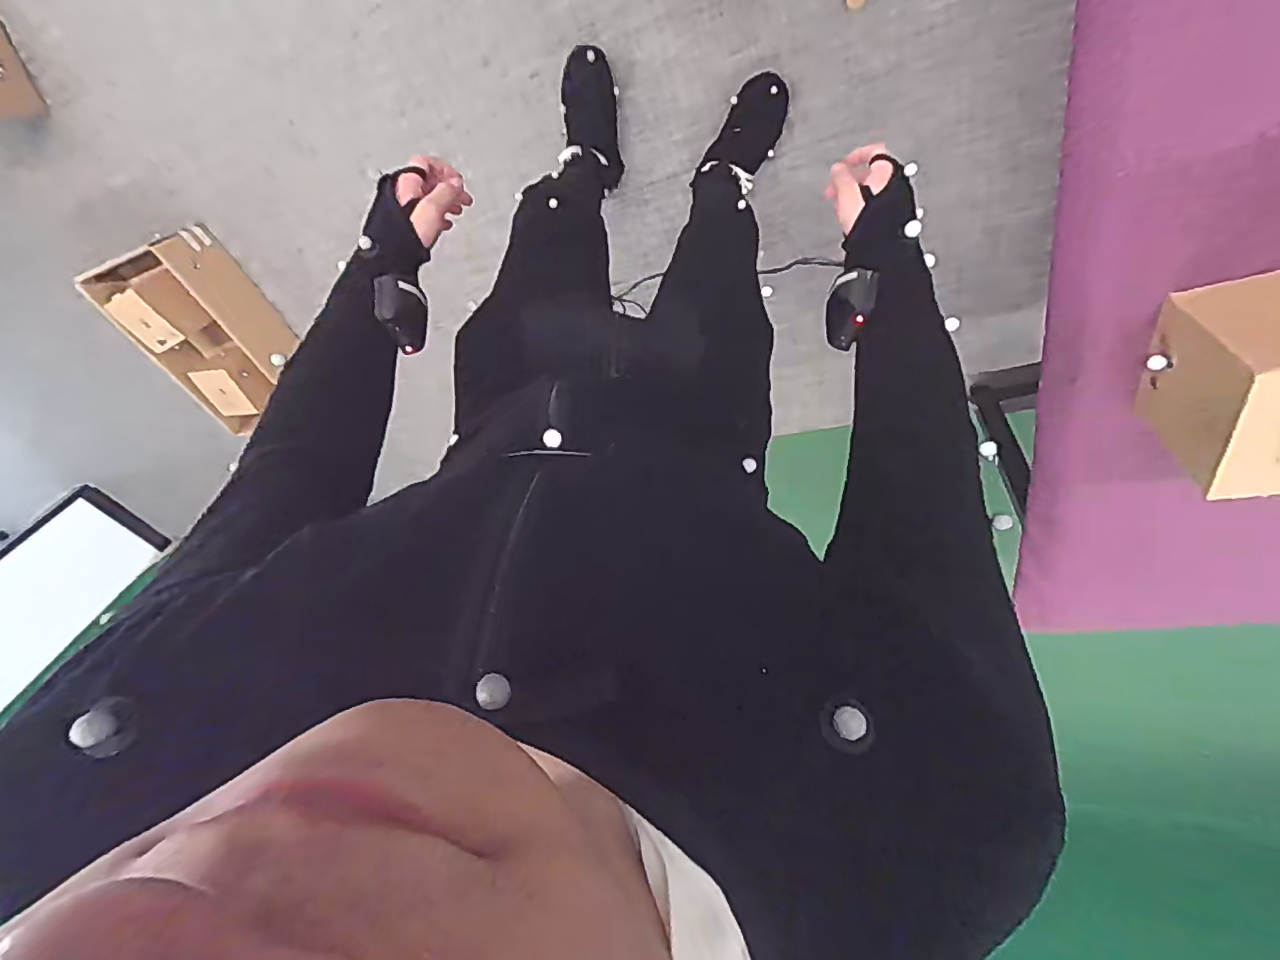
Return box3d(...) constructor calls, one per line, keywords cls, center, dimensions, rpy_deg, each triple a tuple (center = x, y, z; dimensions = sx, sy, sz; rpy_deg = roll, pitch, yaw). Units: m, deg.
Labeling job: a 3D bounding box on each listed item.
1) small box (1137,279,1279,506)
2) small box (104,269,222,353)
box3d(cls="small box", center=(0.667, -0.097, 0.548), dimensions=(0.179, 0.176, 0.168), rpy_deg=(-8, 131, 21))
box3d(cls="small box", center=(-1.467, -0.528, 1.673), dimensions=(0.168, 0.176, 0.179), rpy_deg=(-12, 130, 24))
